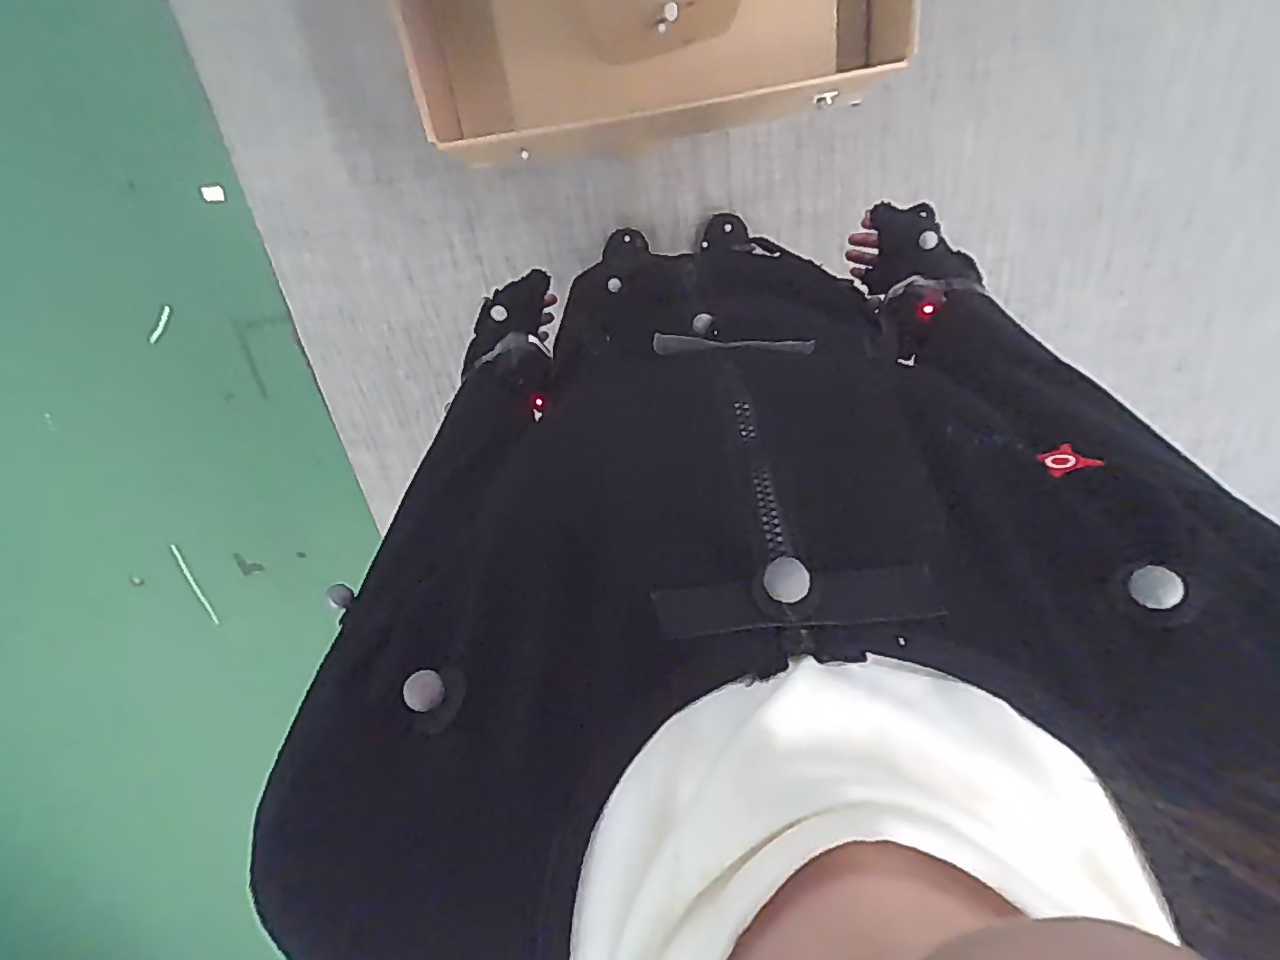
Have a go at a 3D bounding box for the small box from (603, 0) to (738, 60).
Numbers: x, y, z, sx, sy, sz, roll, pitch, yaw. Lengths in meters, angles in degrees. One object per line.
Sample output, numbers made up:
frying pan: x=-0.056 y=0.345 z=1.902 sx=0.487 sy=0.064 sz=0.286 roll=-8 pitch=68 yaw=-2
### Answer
small box: x=0.024 y=-0.654 z=0.654 sx=0.168 sy=0.176 sz=0.179 roll=-10 pitch=114 yaw=9
